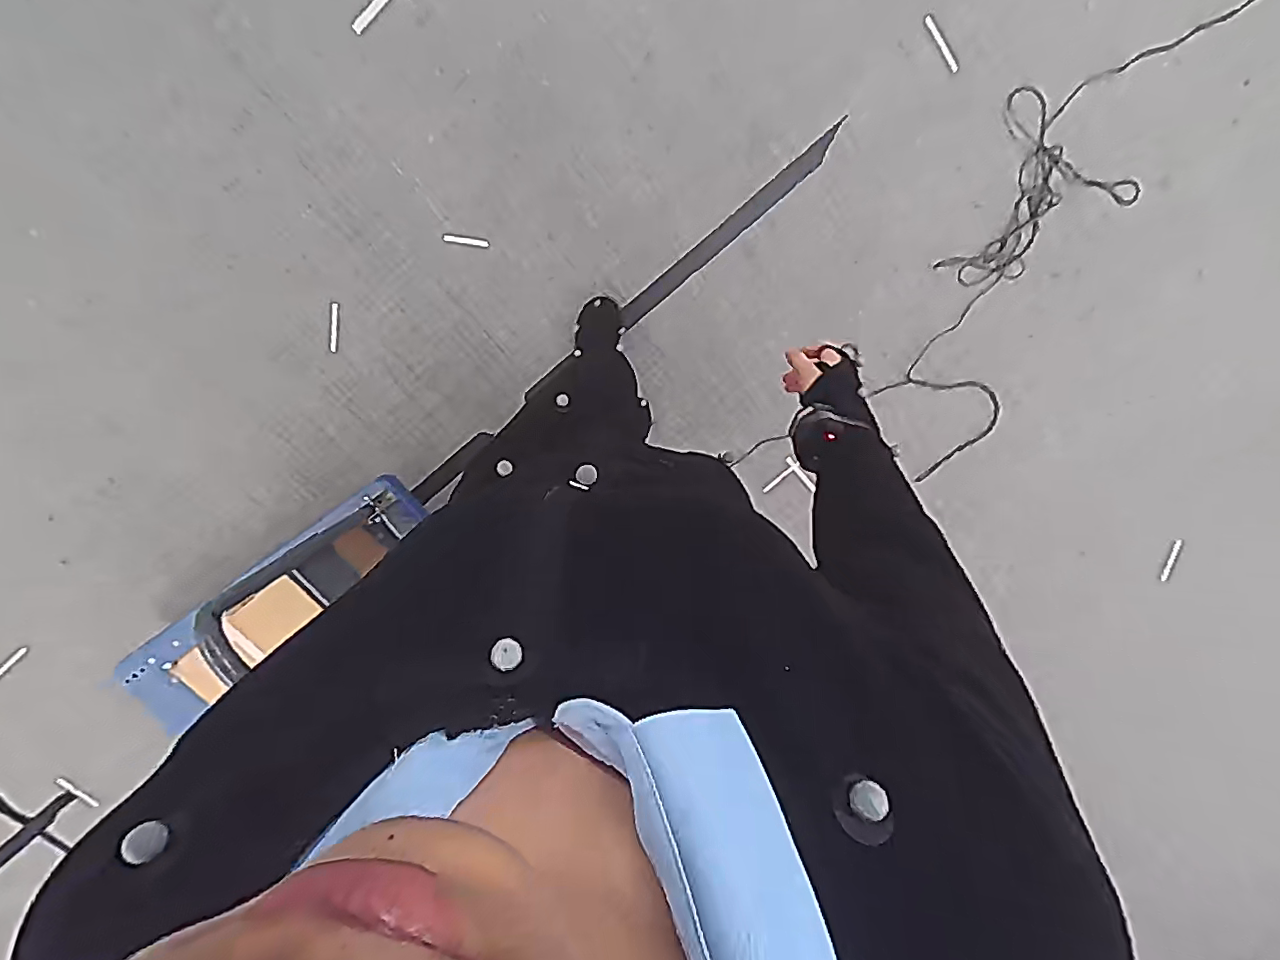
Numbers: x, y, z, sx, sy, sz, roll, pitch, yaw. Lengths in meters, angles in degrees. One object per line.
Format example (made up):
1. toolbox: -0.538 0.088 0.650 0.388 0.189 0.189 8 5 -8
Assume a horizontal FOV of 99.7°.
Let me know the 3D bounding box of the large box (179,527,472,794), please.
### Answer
1. large box: -0.653 0.380 1.208 0.320 0.320 0.408 -39 102 4
